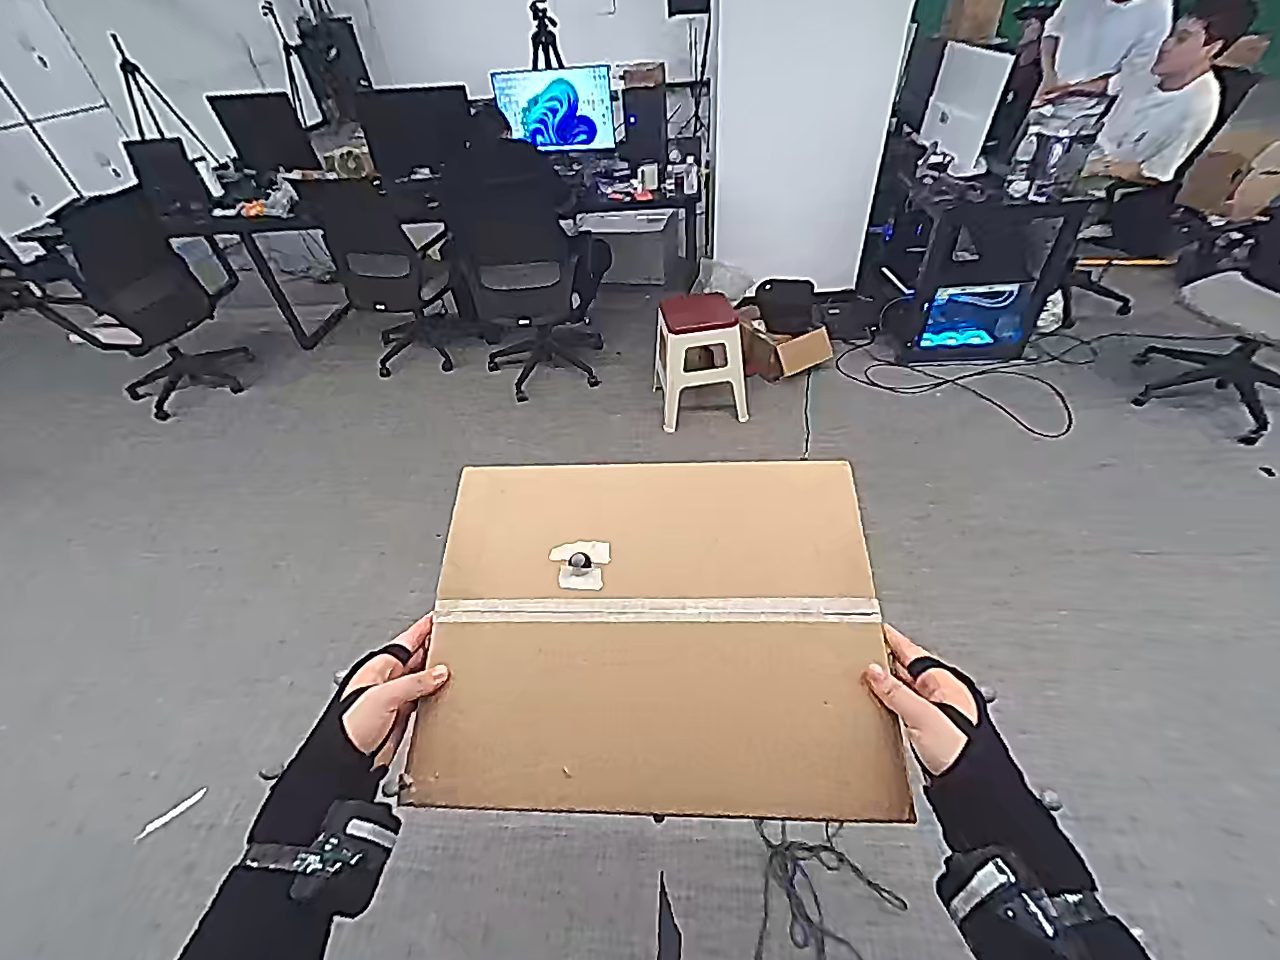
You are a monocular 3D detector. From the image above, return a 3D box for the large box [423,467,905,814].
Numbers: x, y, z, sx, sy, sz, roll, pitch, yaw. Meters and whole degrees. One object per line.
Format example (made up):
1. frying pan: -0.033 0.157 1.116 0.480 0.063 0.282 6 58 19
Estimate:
1. large box: 0.027 0.200 0.640 0.408 0.320 0.320 -2 61 5
